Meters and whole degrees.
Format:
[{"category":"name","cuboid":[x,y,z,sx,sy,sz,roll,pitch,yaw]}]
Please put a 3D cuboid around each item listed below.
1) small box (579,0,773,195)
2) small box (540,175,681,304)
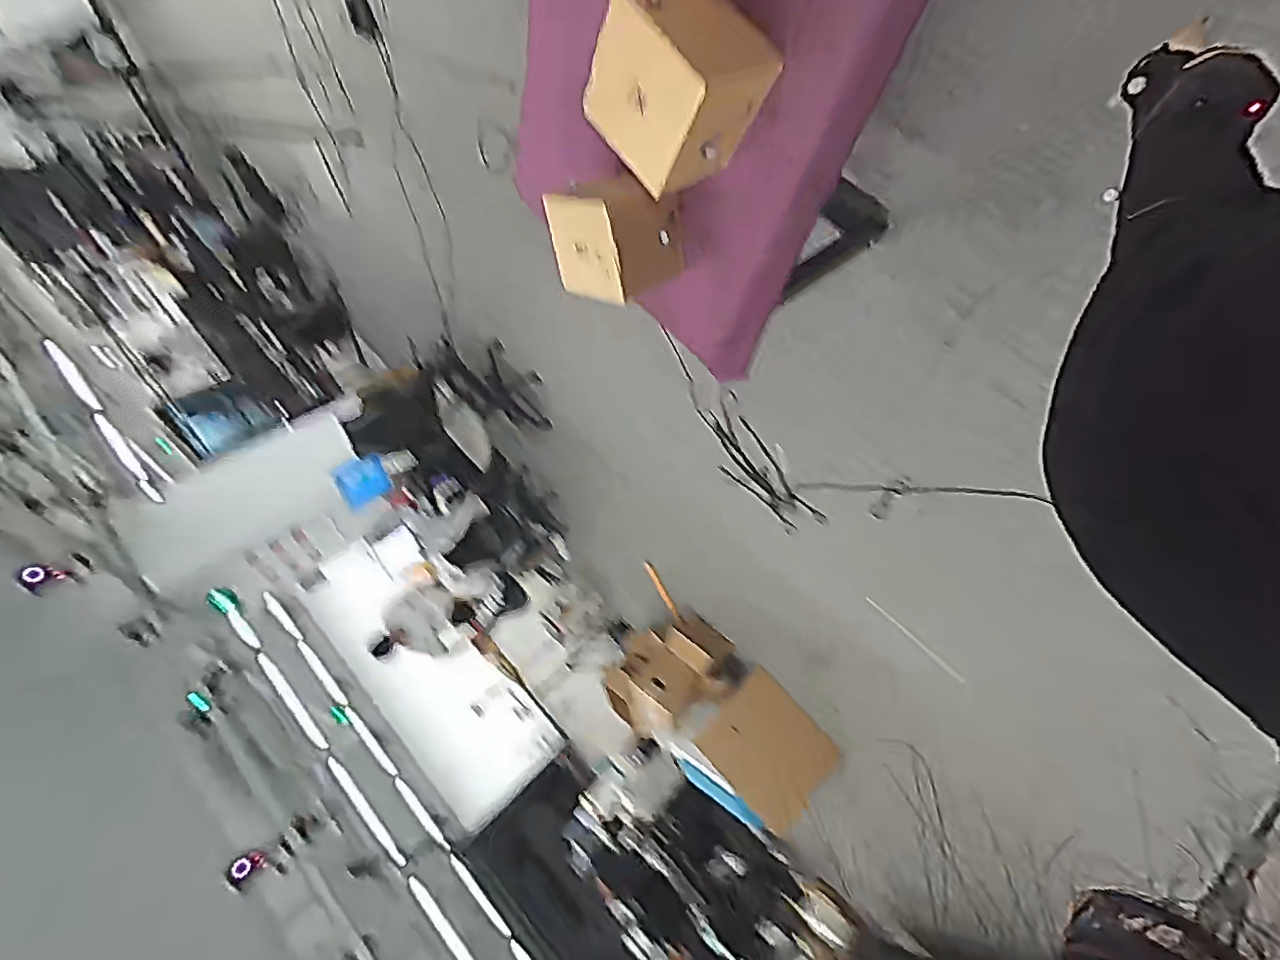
[{"category":"small box","cuboid":[0.048,-0.544,0.748,0.179,0.176,0.168,50,152,4]},{"category":"small box","cuboid":[-0.048,-0.446,0.990,0.179,0.176,0.168,27,143,37]}]
